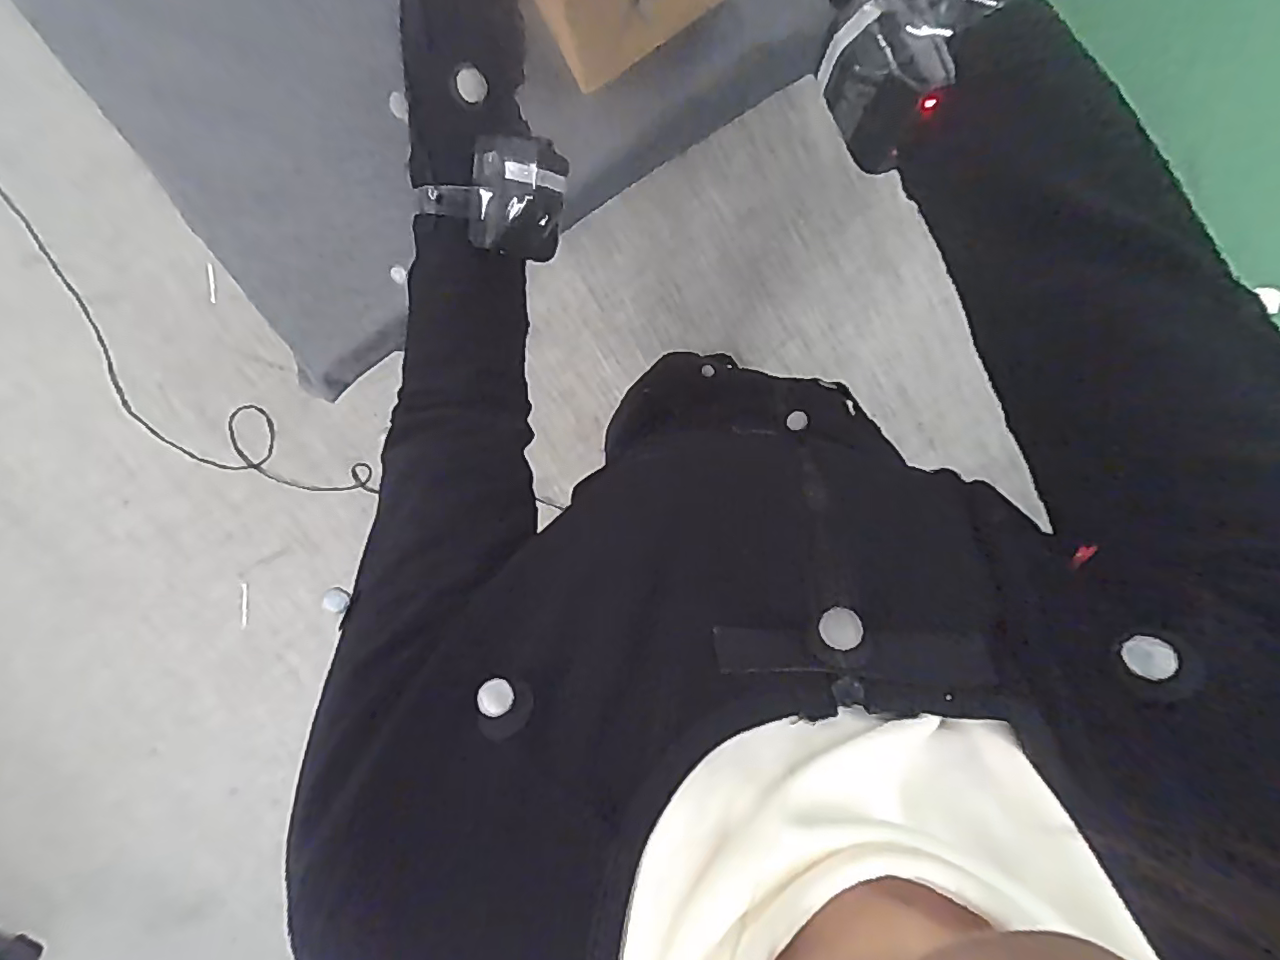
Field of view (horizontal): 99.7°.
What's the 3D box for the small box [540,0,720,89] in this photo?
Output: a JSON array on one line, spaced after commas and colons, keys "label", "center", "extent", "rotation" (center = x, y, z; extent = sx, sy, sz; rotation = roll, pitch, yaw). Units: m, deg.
[{"label": "small box", "center": [-0.025, -0.504, 0.482], "extent": [0.179, 0.176, 0.168], "rotation": [-29, 100, 10]}]
